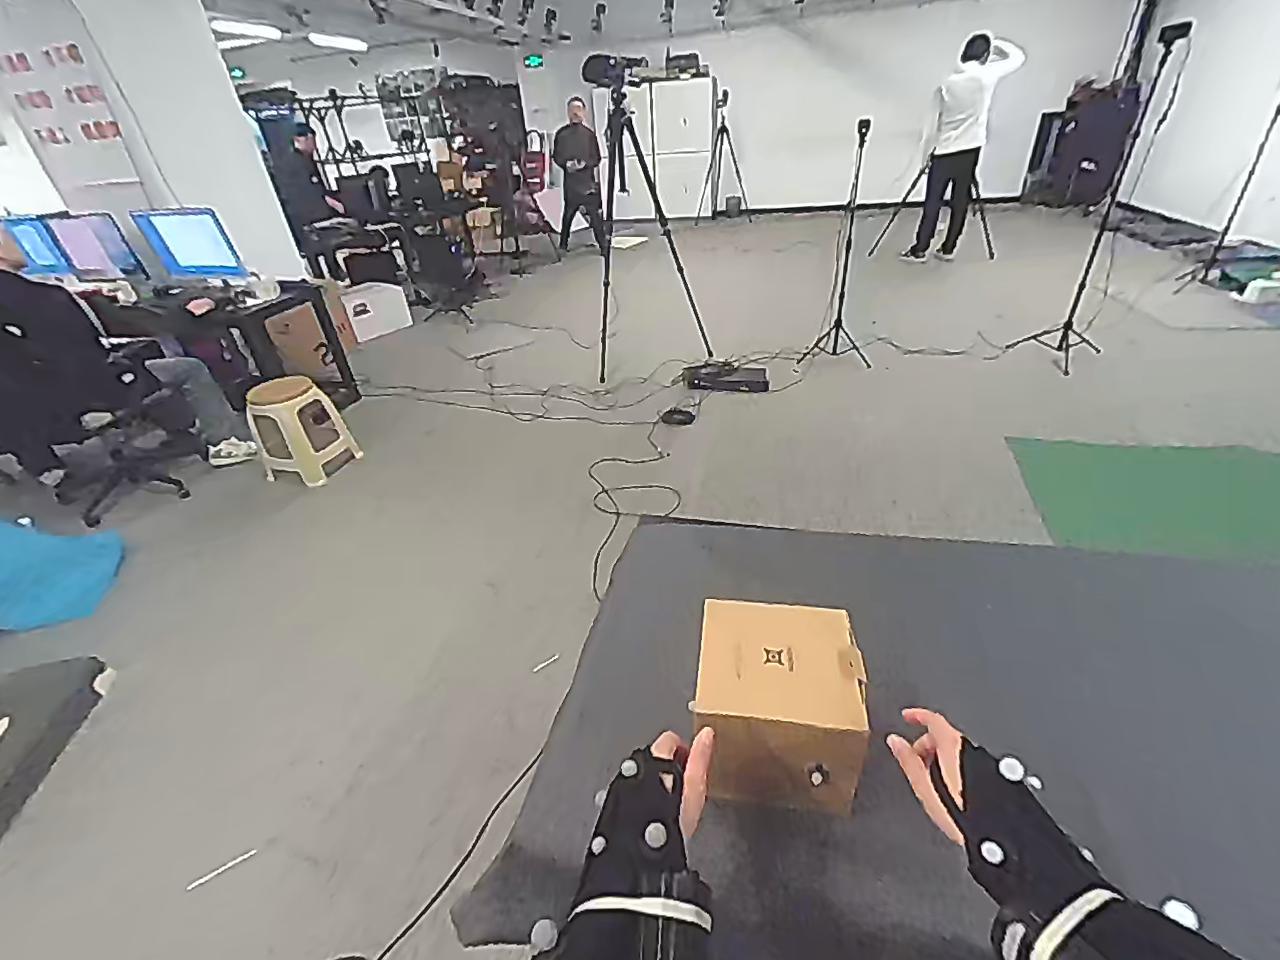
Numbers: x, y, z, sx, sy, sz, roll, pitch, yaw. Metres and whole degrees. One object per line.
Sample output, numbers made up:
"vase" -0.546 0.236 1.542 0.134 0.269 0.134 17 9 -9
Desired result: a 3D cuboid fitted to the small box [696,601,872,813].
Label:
"small box" 0.162 0.269 0.651 0.179 0.176 0.168 1 32 11
